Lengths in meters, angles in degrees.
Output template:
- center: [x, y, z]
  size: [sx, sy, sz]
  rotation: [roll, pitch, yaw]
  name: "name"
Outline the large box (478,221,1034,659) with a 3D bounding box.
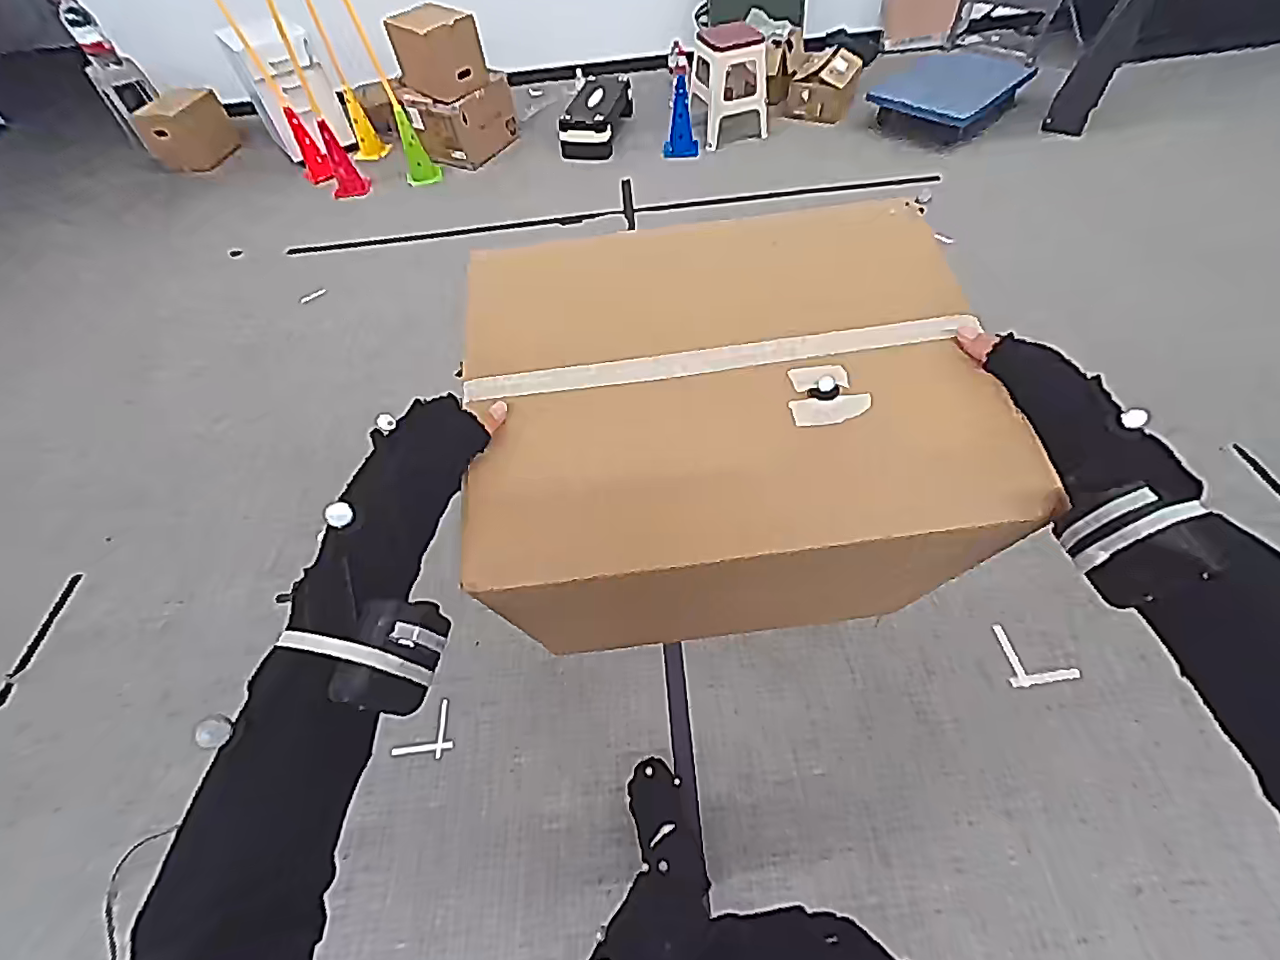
- center: [0.071, -0.017, 0.575]
  size: [0.408, 0.320, 0.320]
  rotation: [-8, 64, -1]
  name: "large box"
